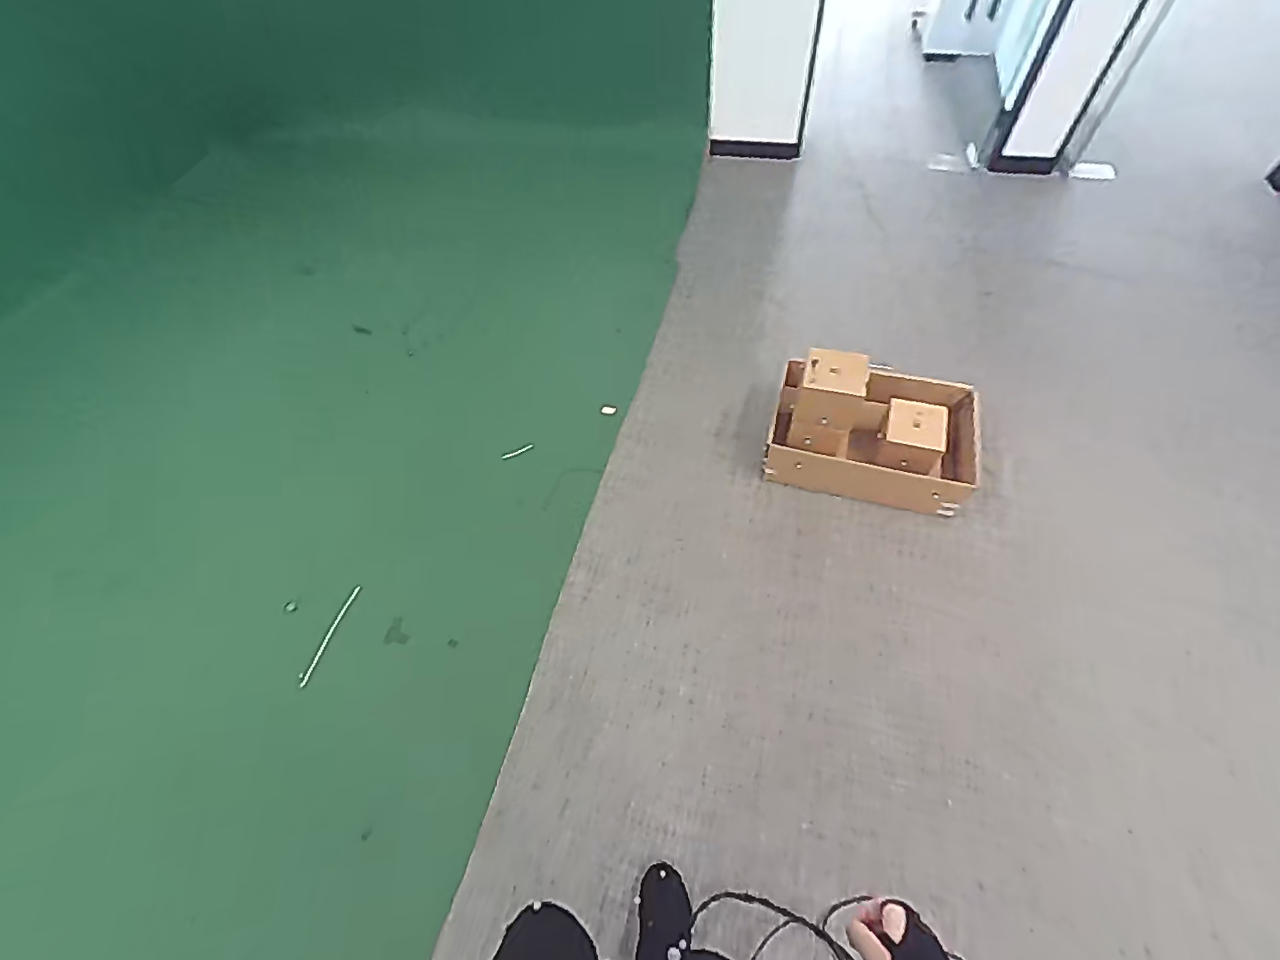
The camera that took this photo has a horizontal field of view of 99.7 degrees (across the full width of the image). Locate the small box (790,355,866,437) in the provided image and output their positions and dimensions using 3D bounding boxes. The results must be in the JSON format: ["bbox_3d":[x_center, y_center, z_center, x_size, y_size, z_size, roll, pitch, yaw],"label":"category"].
[{"bbox_3d":[0.569,-0.252,1.644,0.179,0.176,0.168,12,58,11],"label":"small box"}]

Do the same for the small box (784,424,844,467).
[{"bbox_3d":[0.578,-0.165,1.784,0.168,0.176,0.179,13,58,12],"label":"small box"}]

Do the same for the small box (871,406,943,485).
[{"bbox_3d":[0.847,-0.106,1.725,0.168,0.176,0.179,13,59,14],"label":"small box"}]
